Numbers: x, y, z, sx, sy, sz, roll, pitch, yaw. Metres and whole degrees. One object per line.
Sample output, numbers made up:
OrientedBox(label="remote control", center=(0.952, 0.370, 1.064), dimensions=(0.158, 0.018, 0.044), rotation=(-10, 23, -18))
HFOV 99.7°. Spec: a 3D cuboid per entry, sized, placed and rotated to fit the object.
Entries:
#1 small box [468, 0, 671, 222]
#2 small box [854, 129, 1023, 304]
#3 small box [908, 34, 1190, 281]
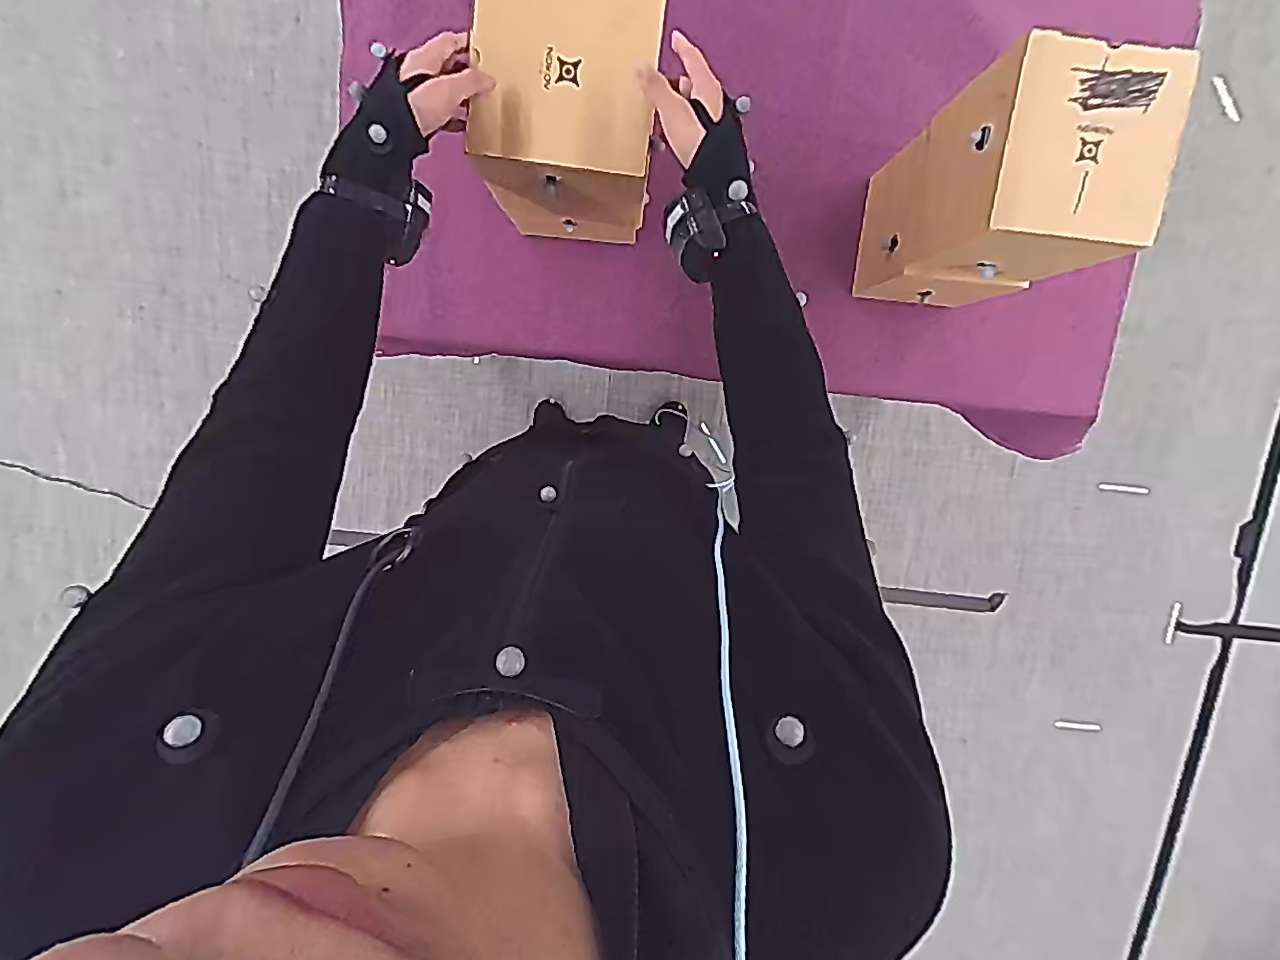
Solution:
OrientedBox(label="small box", center=(-0.069, -0.392, 0.580), dimensions=(0.179, 0.176, 0.168), rotation=(7, 100, -2))
OrientedBox(label="small box", center=(0.420, -0.353, 0.760), dimensions=(0.168, 0.176, 0.179), rotation=(6, 100, -2))
OrientedBox(label="small box", center=(0.425, -0.334, 0.597), dimensions=(0.168, 0.176, 0.179), rotation=(6, 100, -2))
